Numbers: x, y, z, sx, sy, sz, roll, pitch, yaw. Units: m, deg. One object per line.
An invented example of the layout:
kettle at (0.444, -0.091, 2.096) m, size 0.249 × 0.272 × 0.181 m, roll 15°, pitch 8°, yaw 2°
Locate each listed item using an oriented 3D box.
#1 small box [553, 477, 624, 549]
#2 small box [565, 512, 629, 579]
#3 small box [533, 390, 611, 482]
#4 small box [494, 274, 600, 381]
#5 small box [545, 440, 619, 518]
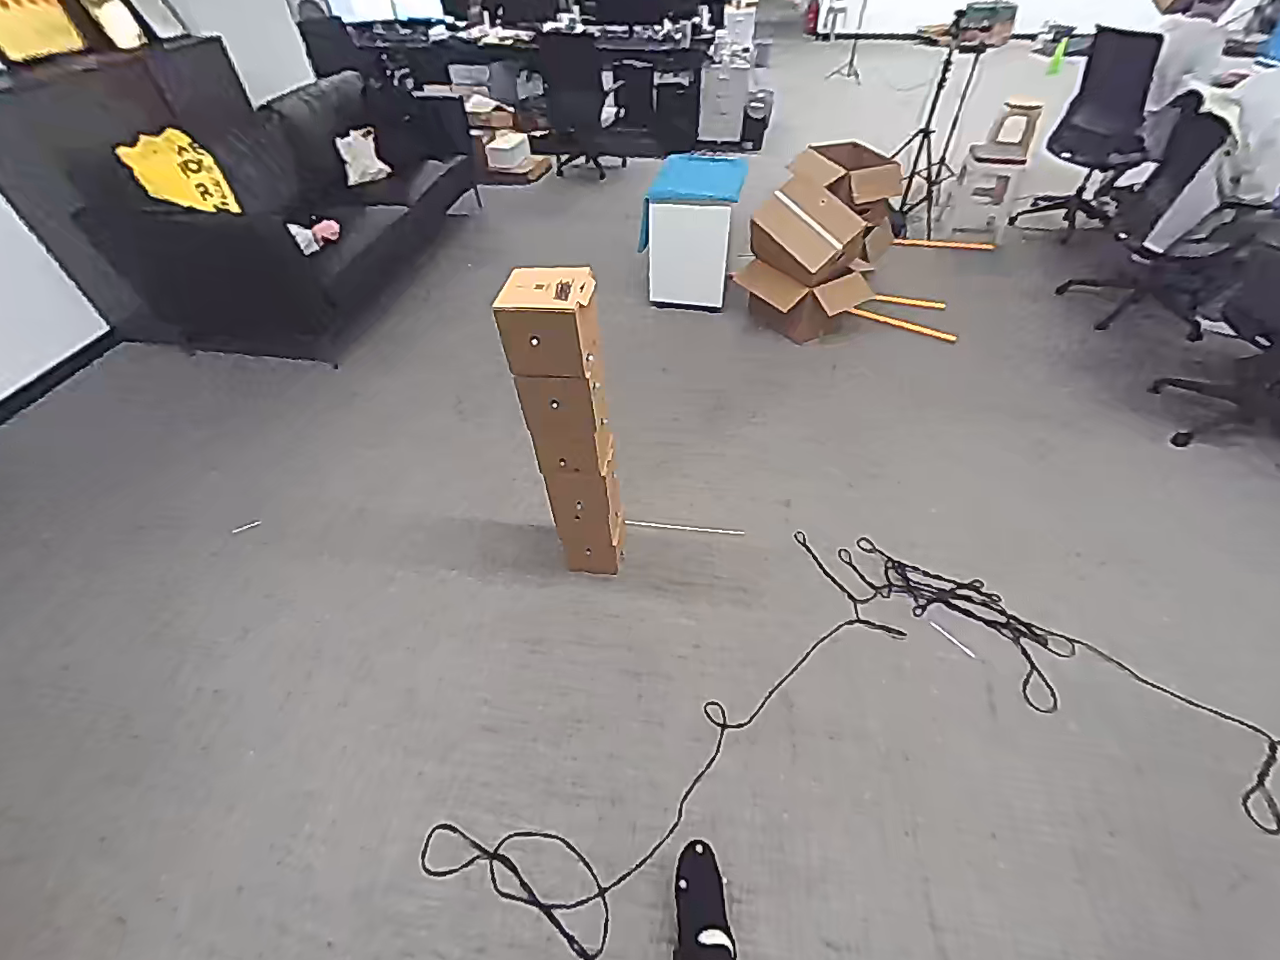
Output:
small box at (-0.154, 0.098, 1.680) m, size 0.179 × 0.176 × 0.168 m, roll 5°, pitch 47°, yaw 8°
small box at (-0.137, 0.213, 1.796) m, size 0.179 × 0.176 × 0.168 m, roll 5°, pitch 46°, yaw 7°
small box at (-0.171, -0.116, 1.434) m, size 0.168 × 0.176 × 0.179 m, roll 3°, pitch 48°, yaw 6°
small box at (-0.192, -0.333, 1.189) m, size 0.179 × 0.176 × 0.168 m, roll 3°, pitch 48°, yaw 9°
small box at (-0.158, -0.005, 1.553) m, size 0.179 × 0.176 × 0.168 m, roll 3°, pitch 46°, yaw 6°
